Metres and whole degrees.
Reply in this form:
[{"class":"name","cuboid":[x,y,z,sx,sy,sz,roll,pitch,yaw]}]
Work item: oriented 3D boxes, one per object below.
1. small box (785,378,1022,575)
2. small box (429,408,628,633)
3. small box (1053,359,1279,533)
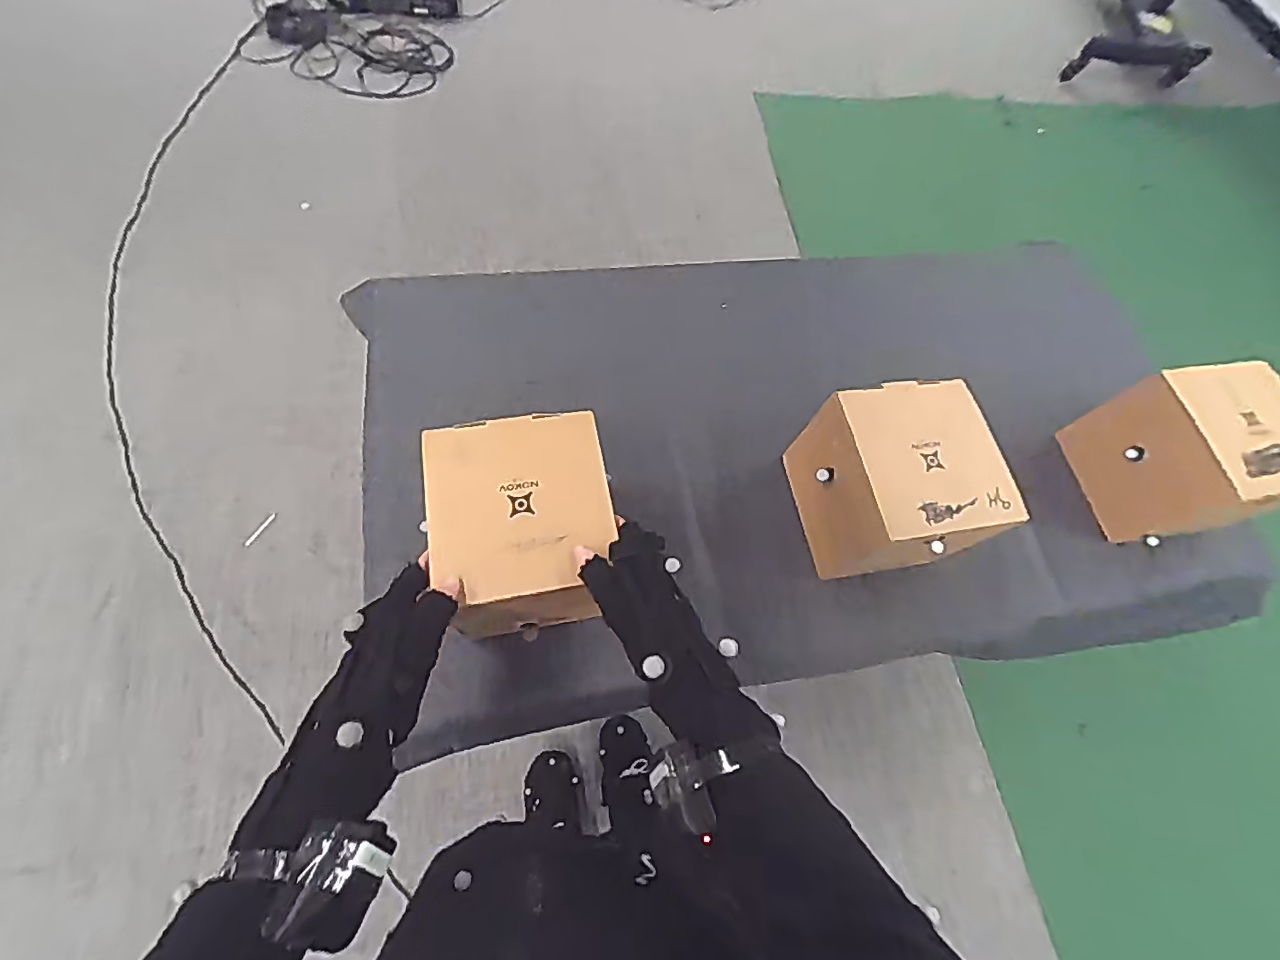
[{"class":"small box","cuboid":[0.297,0.001,0.655,0.168,0.176,0.179,-7,67,-10]},{"class":"small box","cuboid":[-0.116,0.048,0.569,0.168,0.176,0.179,-9,68,-11]},{"class":"small box","cuboid":[0.717,-0.036,0.722,0.168,0.176,0.179,-6,66,-9]}]
